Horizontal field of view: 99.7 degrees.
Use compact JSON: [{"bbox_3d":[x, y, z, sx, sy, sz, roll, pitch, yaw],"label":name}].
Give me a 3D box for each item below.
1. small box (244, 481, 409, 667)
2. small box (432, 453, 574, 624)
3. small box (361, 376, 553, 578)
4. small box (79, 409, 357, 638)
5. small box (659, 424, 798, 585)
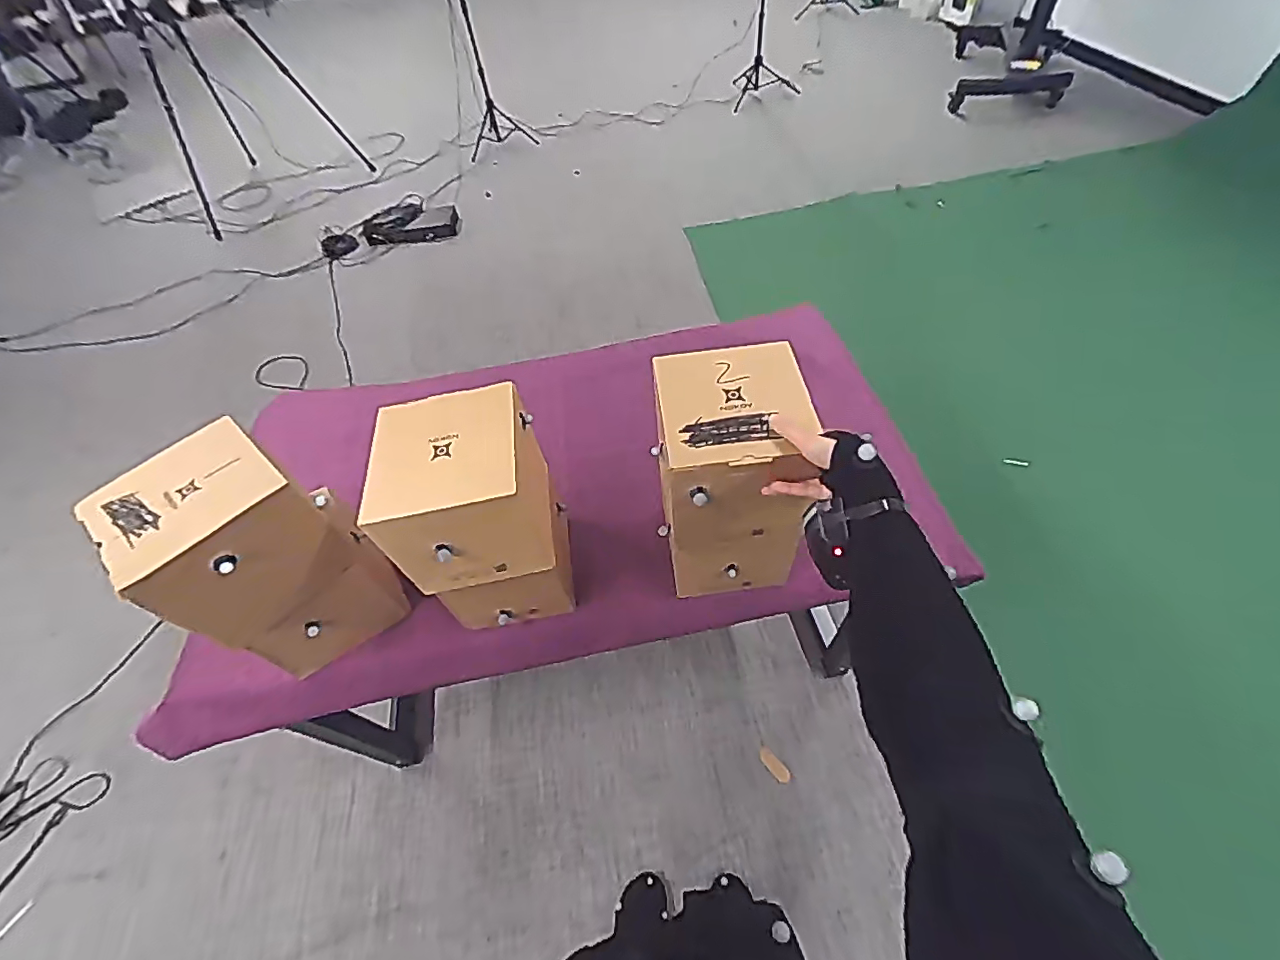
[{"bbox_3d":[-0.474,0.141,0.788,0.179,0.176,0.168,-32,57,-17],"label":"small box"},{"bbox_3d":[-0.198,0.089,0.801,0.168,0.176,0.179,-11,53,-1],"label":"small box"},{"bbox_3d":[-0.208,0.005,0.661,0.168,0.176,0.179,-12,52,-1],"label":"small box"},{"bbox_3d":[-0.487,0.055,0.647,0.168,0.176,0.179,35,63,27],"label":"small box"},{"bbox_3d":[0.122,0.044,0.800,0.168,0.176,0.179,-7,53,0],"label":"small box"}]
